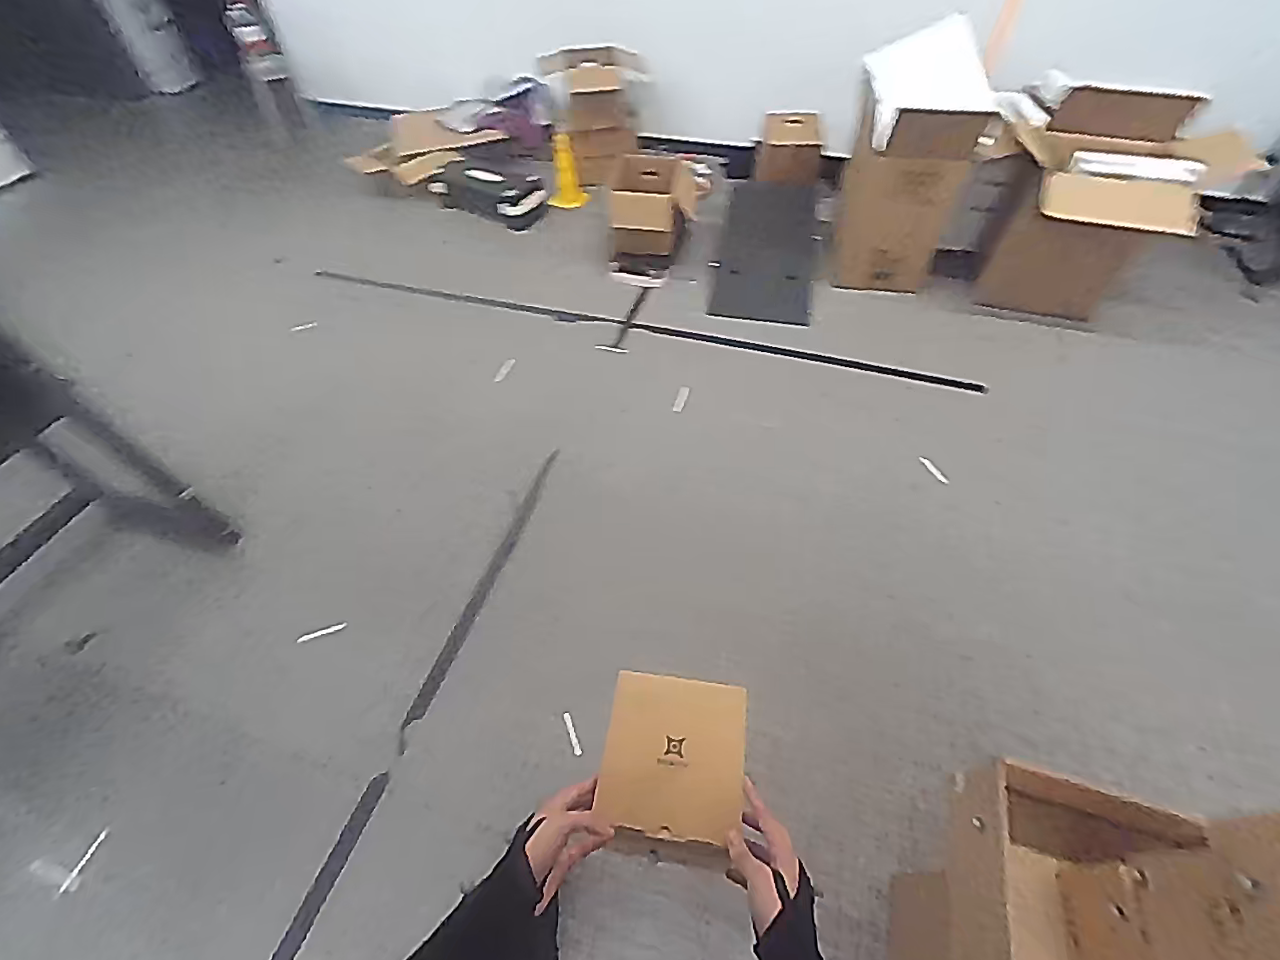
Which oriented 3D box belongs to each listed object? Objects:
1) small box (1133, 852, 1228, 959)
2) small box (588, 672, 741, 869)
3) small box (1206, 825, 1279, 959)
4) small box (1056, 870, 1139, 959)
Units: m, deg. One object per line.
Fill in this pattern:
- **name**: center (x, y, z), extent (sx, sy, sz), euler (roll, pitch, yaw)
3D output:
- **small box**: center (0.813, 0.635, 0.725), extent (0.179, 0.176, 0.168), euler (18, 55, 13)
- **small box**: center (0.036, 0.374, 0.696), extent (0.168, 0.176, 0.179), euler (4, 49, 7)
- **small box**: center (0.822, 0.511, 0.613), extent (0.179, 0.176, 0.168), euler (18, 54, 14)
- **small box**: center (0.811, 0.739, 0.852), extent (0.179, 0.176, 0.168), euler (13, 53, 9)
